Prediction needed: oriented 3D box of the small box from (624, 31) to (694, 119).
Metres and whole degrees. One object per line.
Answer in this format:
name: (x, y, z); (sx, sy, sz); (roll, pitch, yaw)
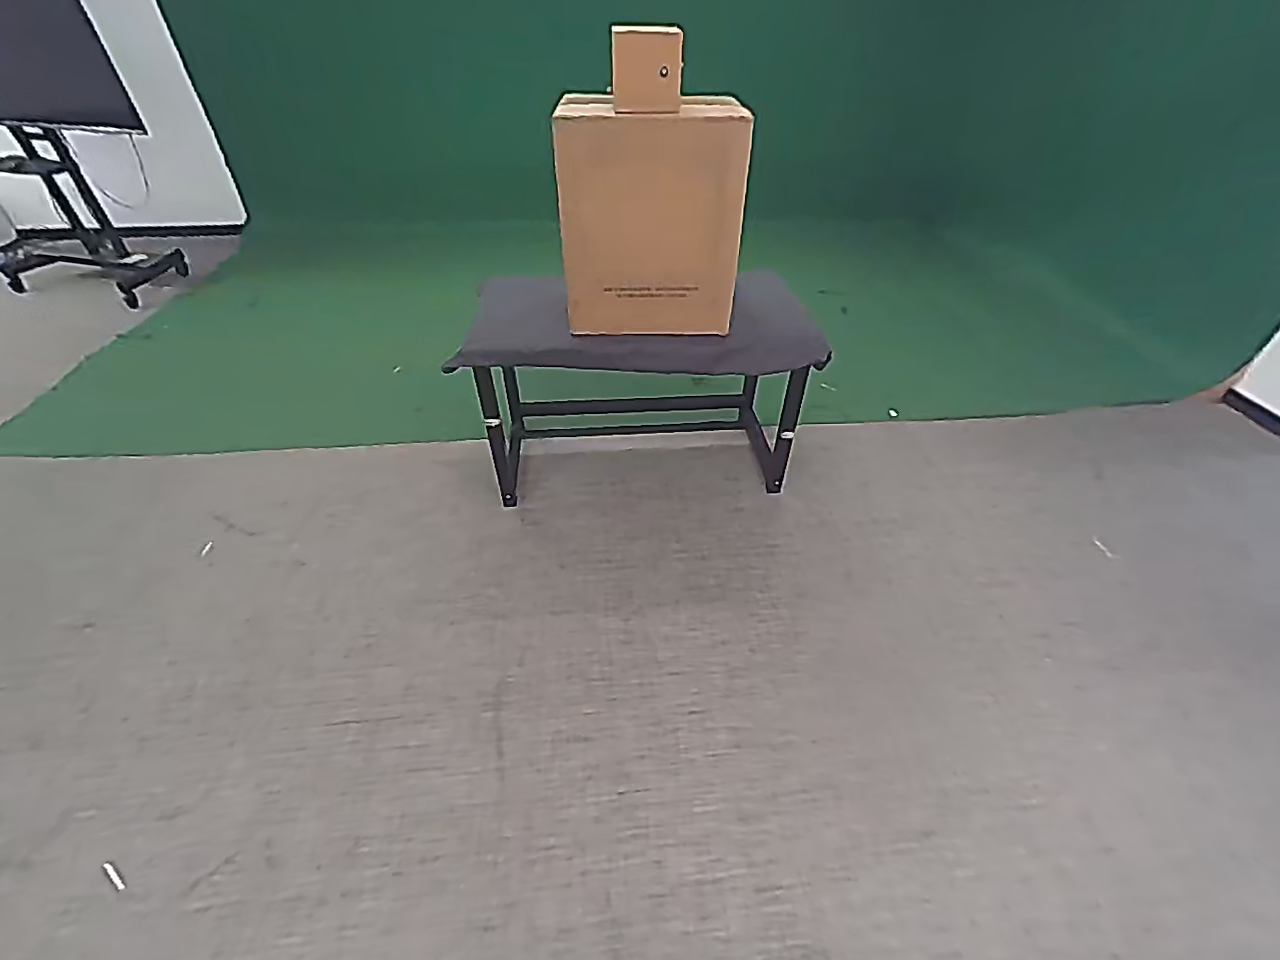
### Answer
small box: (0.045, -1.080, 1.442); (0.179, 0.176, 0.168); (-1, 43, -1)
